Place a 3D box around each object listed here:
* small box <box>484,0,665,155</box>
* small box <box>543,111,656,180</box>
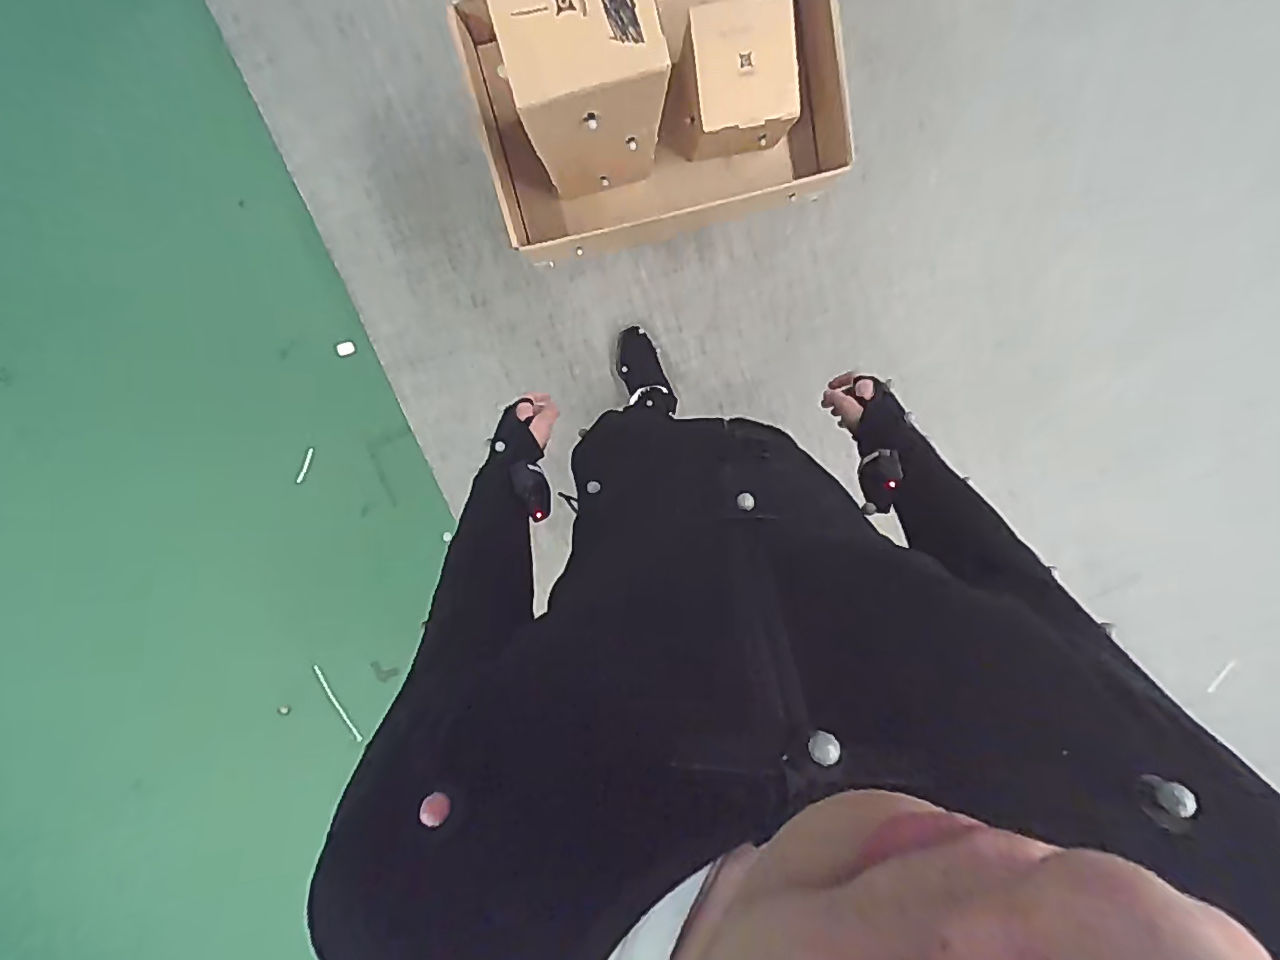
[{"bbox_3d":[-0.076,-0.524,0.652,0.179,0.176,0.168,-14,105,4],"label":"small box"},{"bbox_3d":[-0.077,-0.572,0.809,0.179,0.176,0.168,-12,105,2],"label":"small box"}]
